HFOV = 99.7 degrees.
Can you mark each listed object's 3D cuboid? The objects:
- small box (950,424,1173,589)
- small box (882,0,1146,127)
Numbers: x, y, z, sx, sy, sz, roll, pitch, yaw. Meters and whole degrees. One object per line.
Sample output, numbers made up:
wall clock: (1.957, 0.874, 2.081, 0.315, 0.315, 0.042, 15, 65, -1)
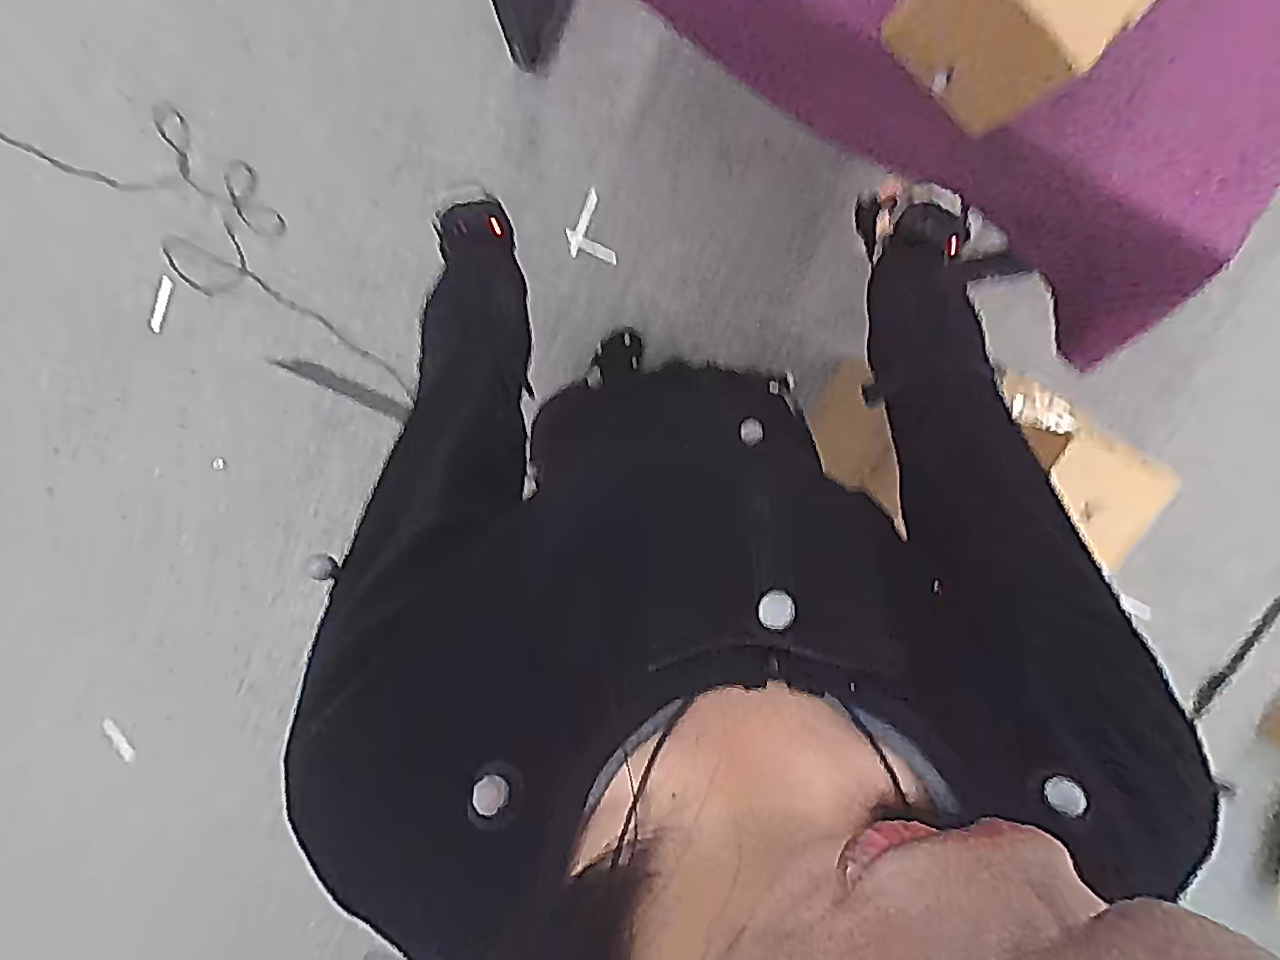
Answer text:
small box: (0.621, 0.029, 0.825, 0.168, 0.176, 0.179, 25, 102, -6)
small box: (0.408, -0.523, 0.582, 0.179, 0.176, 0.168, 37, 98, -11)
